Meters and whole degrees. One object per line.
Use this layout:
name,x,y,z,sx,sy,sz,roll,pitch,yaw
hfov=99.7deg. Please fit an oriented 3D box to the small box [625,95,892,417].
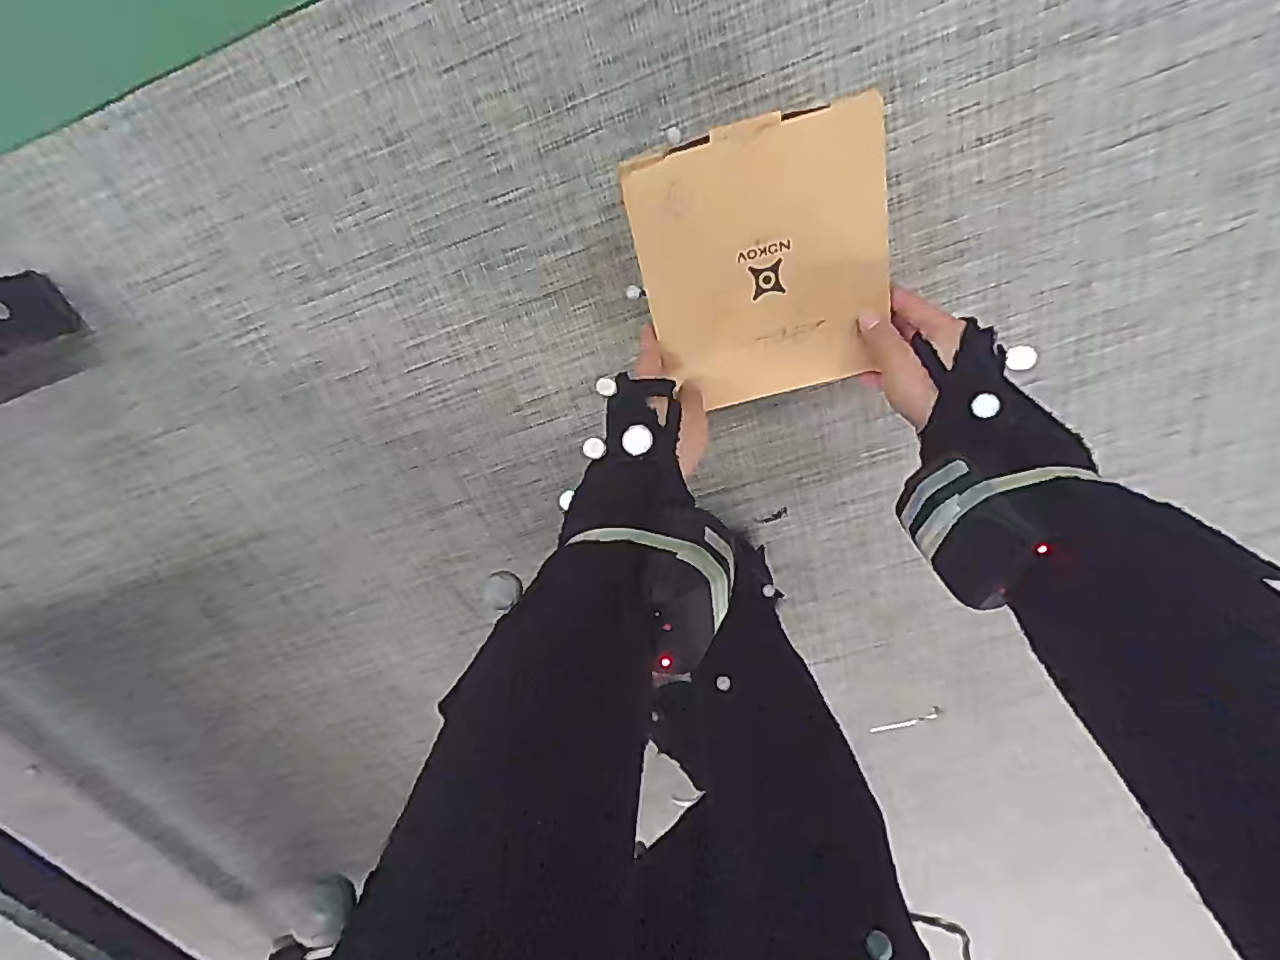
small box,0.085,-0.177,0.442,0.168,0.176,0.179,-14,117,6
